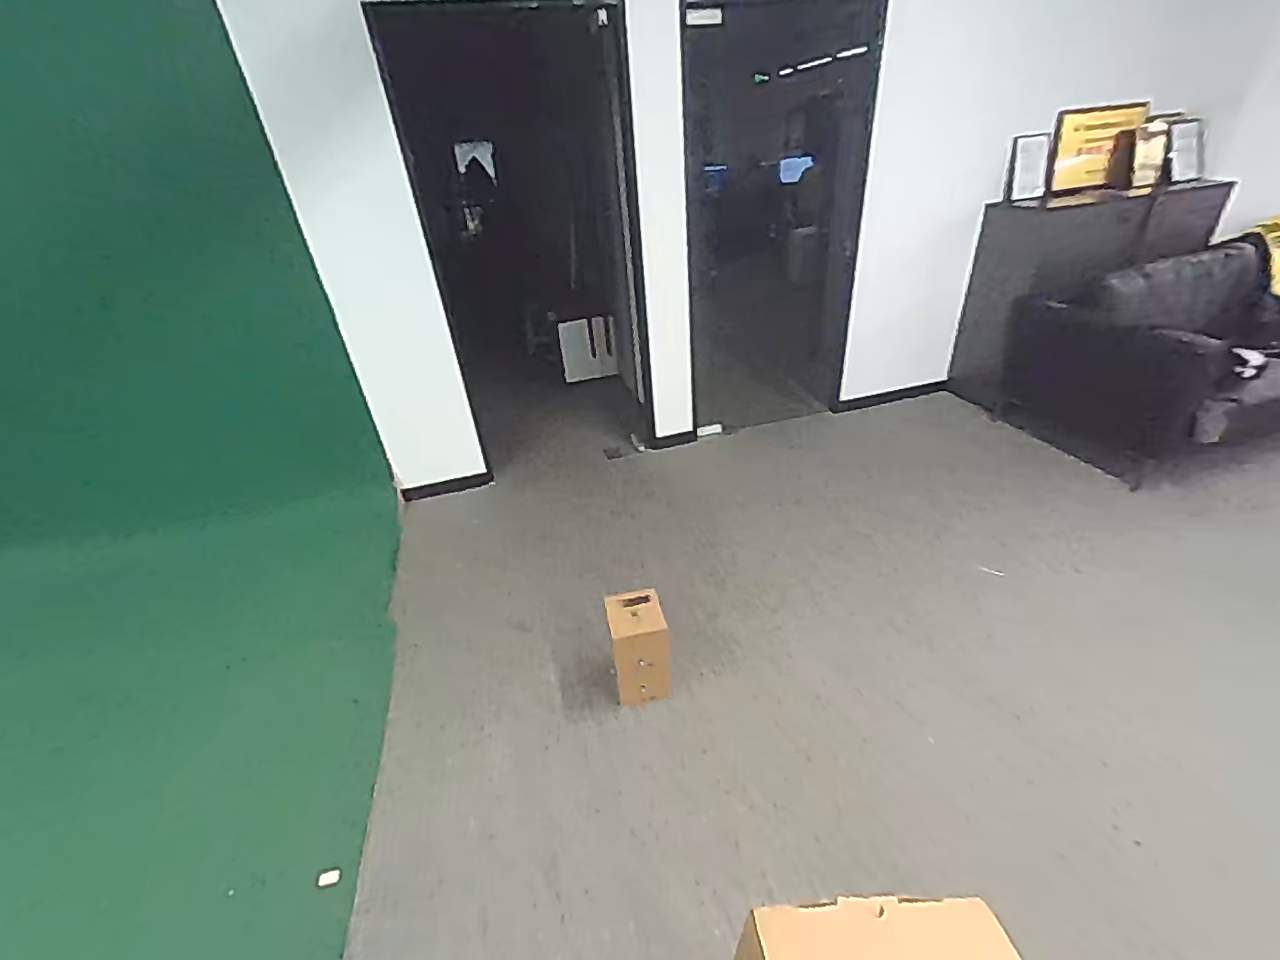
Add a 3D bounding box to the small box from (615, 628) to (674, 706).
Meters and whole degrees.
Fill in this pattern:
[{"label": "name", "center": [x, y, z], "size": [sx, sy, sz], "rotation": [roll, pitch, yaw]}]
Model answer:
[{"label": "small box", "center": [0.015, 0.618, 1.770], "size": [0.168, 0.176, 0.179], "rotation": [-8, 32, -4]}]
